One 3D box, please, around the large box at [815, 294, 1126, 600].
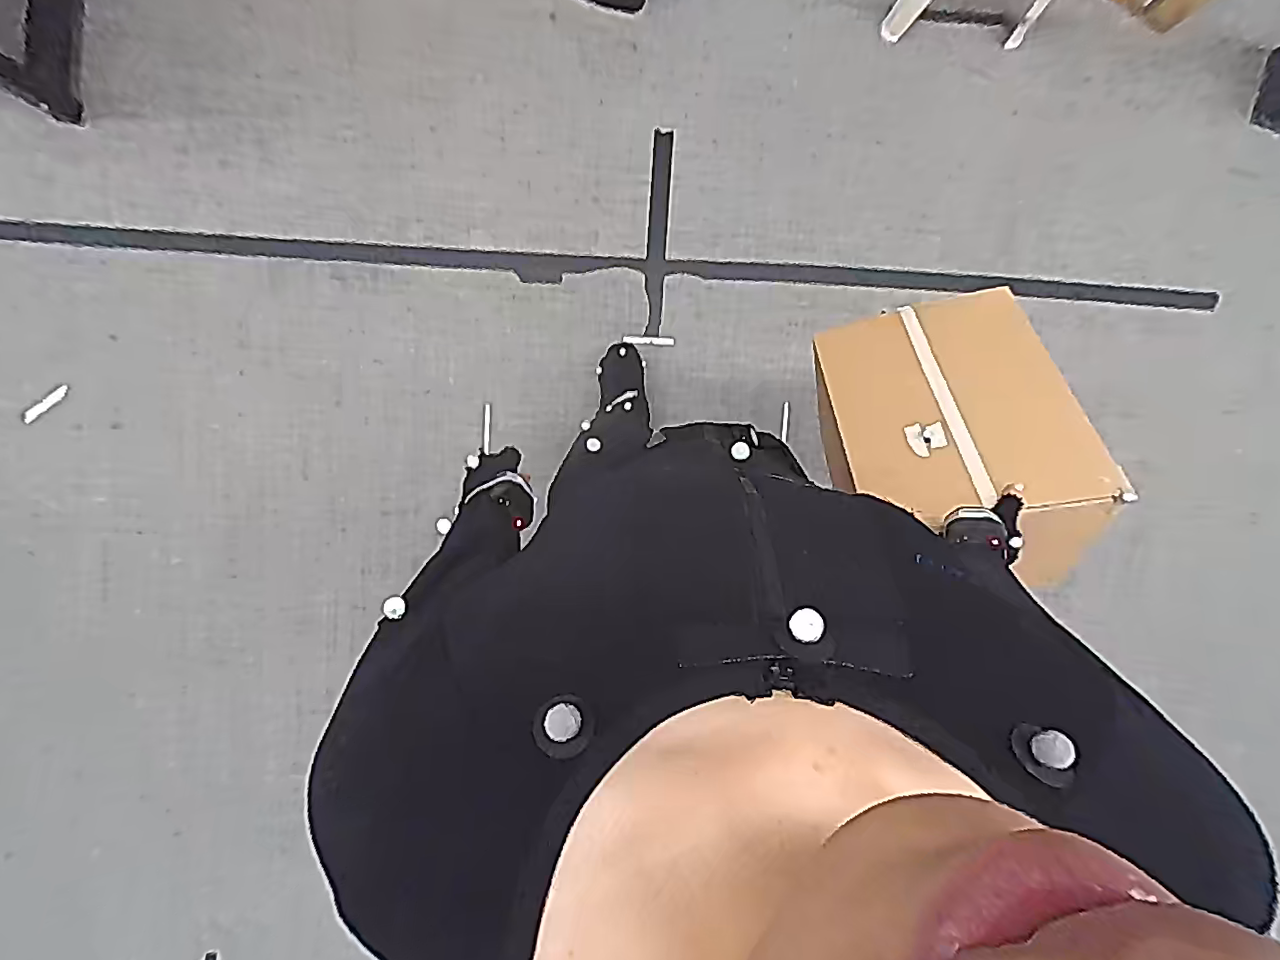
[{"bbox_3d":[0.511,-0.044,0.952,0.320,0.320,0.408,-12,57,14],"label":"large box"}]
